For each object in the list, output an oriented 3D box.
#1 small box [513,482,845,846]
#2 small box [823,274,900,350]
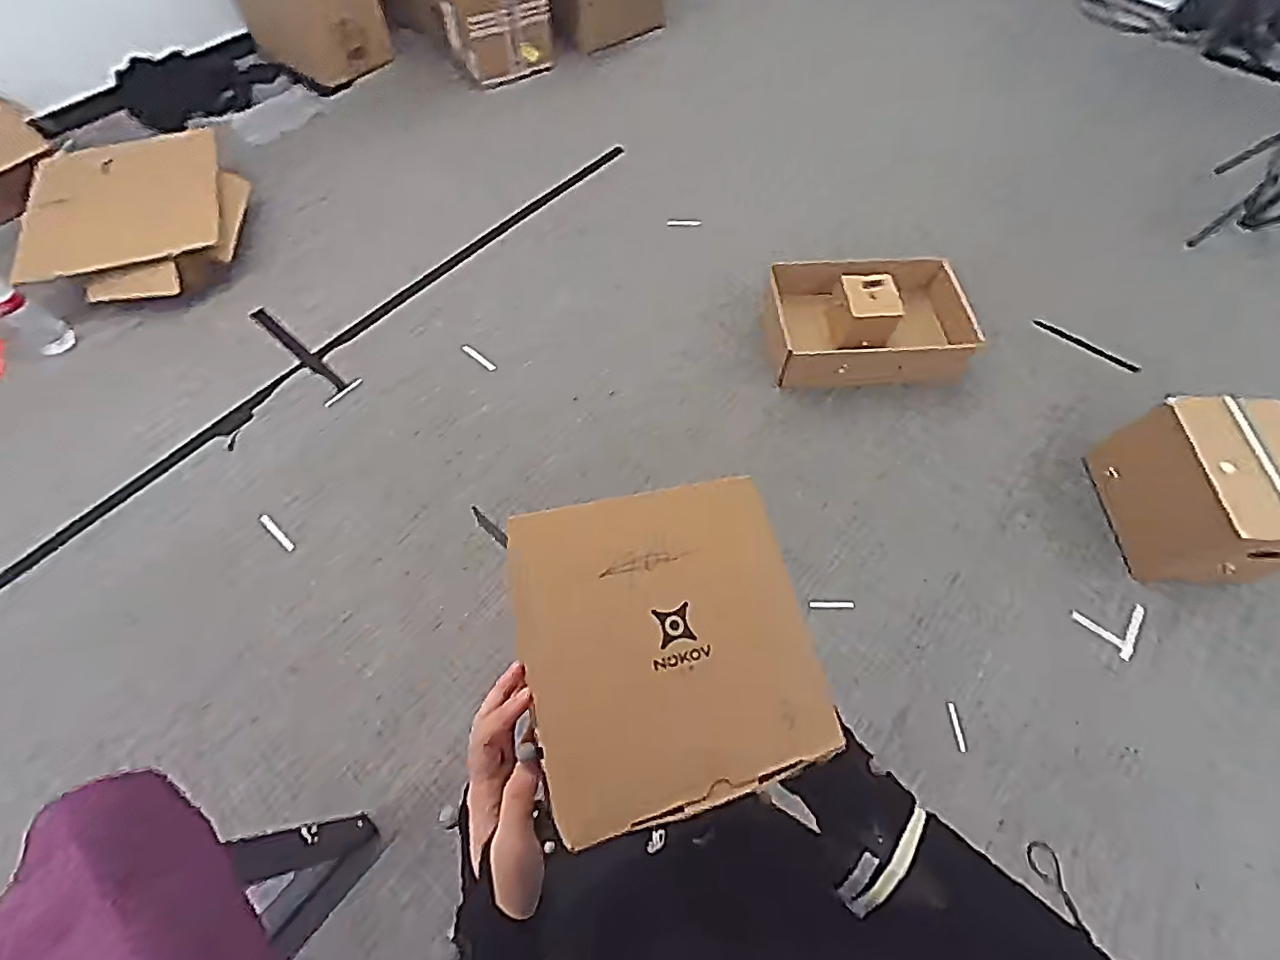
[{"bbox_3d":[0.005,0.121,0.389,0.168,0.176,0.179,-9,70,-19],"label":"small box"},{"bbox_3d":[0.723,-0.554,1.788,0.168,0.176,0.179,-4,63,-3],"label":"small box"}]
